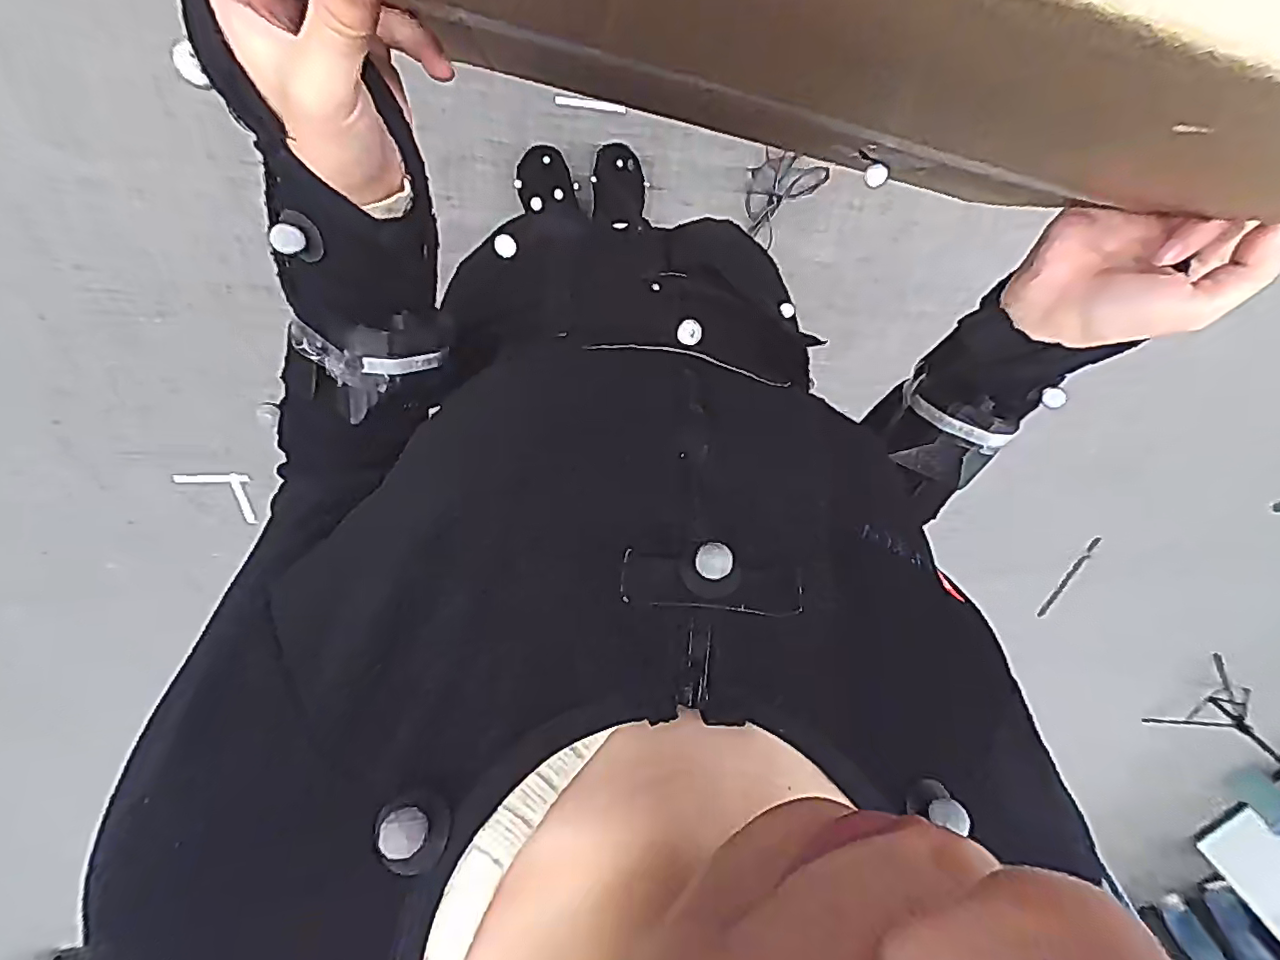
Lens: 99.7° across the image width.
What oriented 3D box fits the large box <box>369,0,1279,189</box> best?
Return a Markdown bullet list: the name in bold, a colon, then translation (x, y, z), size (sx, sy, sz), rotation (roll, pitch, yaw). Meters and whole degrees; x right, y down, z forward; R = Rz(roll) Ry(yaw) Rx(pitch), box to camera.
- **large box**: translation (0.102, -0.305, 0.162), size (0.408, 0.320, 0.320), rotation (6, 119, -12)
